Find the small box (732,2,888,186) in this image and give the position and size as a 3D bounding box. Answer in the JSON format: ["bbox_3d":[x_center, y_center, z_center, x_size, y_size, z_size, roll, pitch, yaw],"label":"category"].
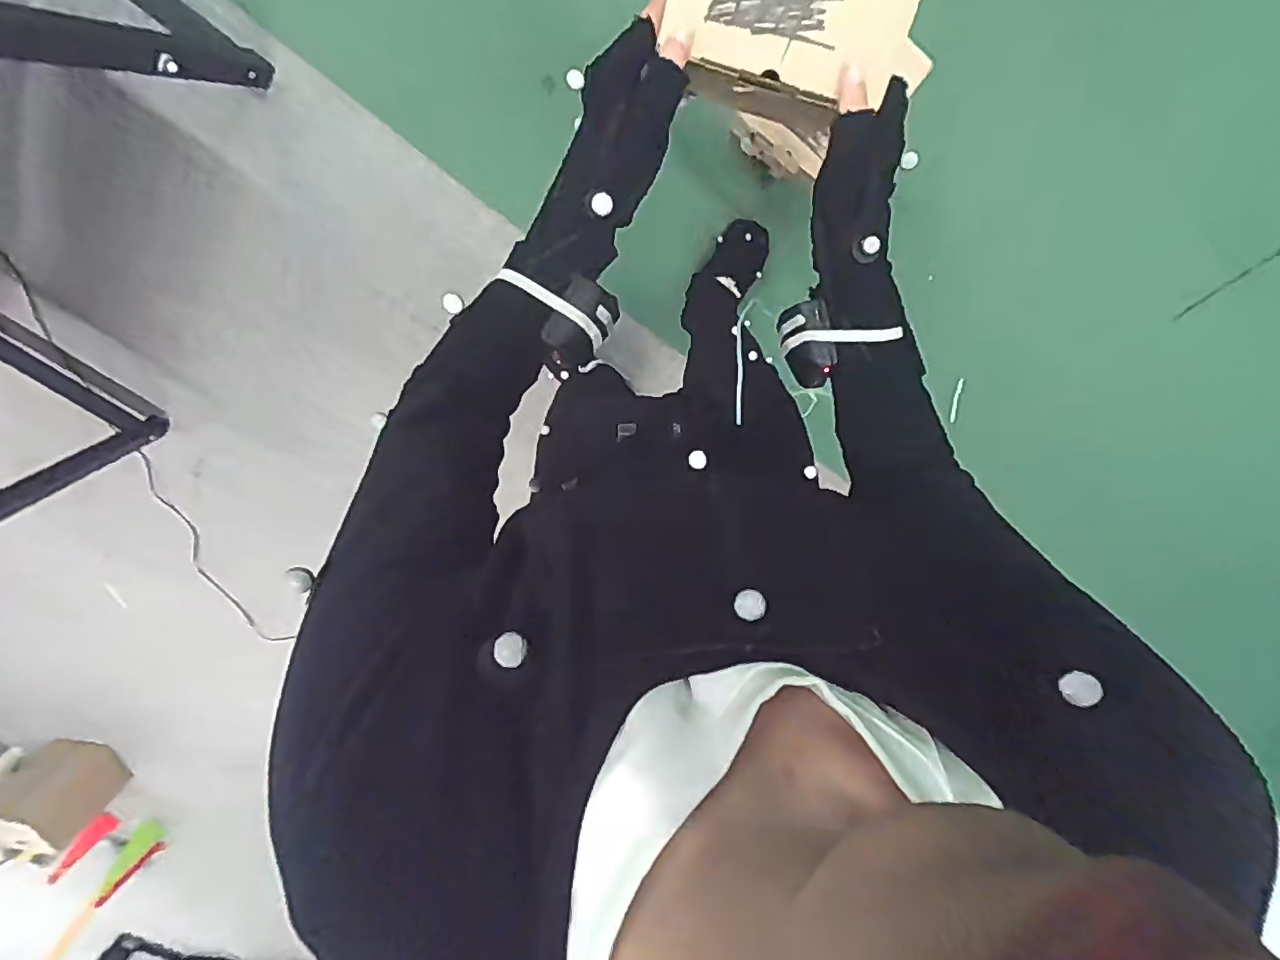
[{"bbox_3d":[0.265,-0.624,0.892,0.168,0.176,0.179,32,121,-13],"label":"small box"}]
